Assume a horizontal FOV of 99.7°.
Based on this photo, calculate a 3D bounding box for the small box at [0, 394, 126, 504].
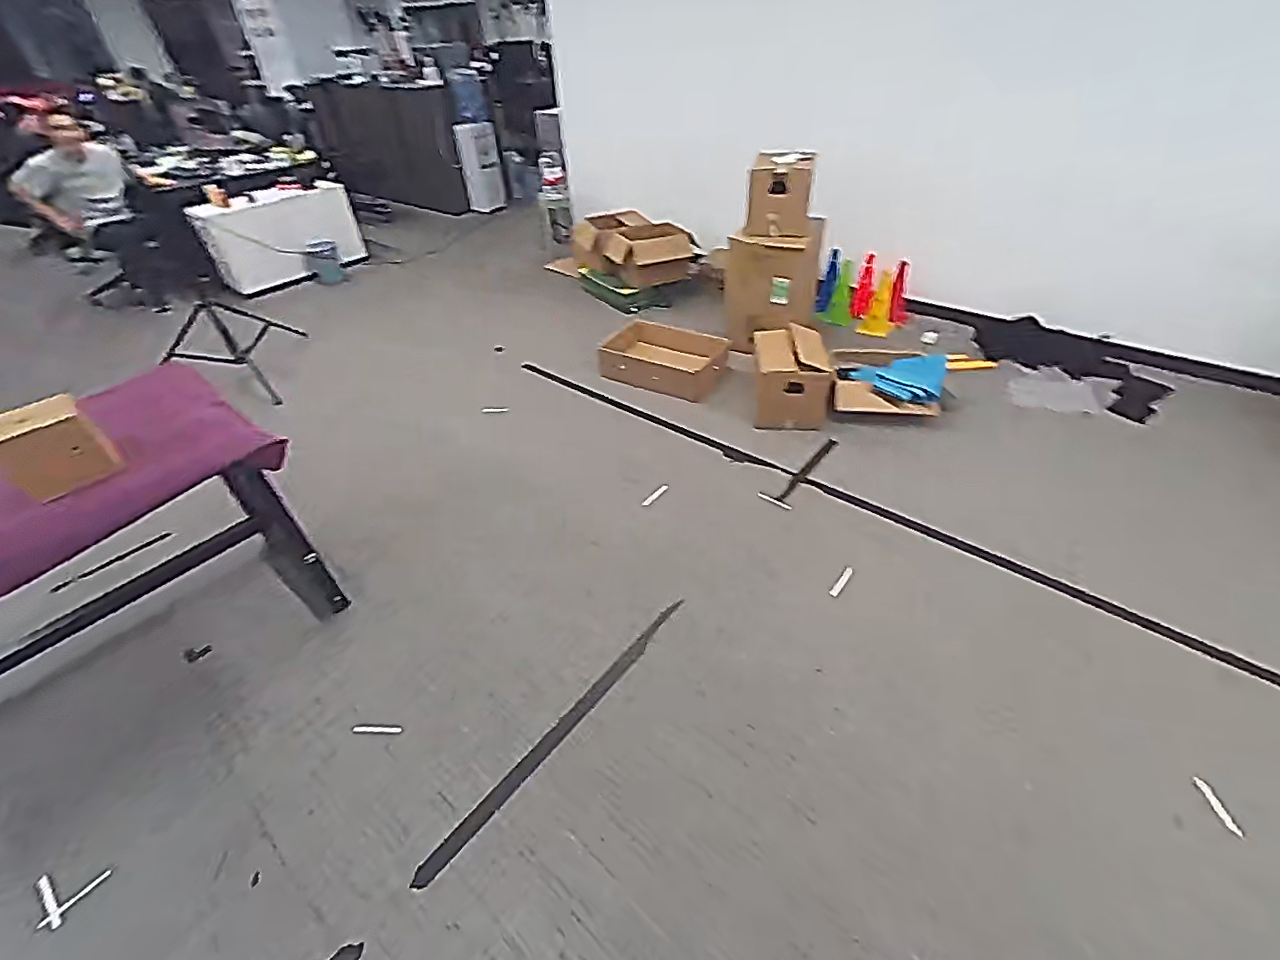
[{"bbox_3d":[-1.389,-0.076,1.296,0.168,0.176,0.179,28,51,34],"label":"small box"}]
